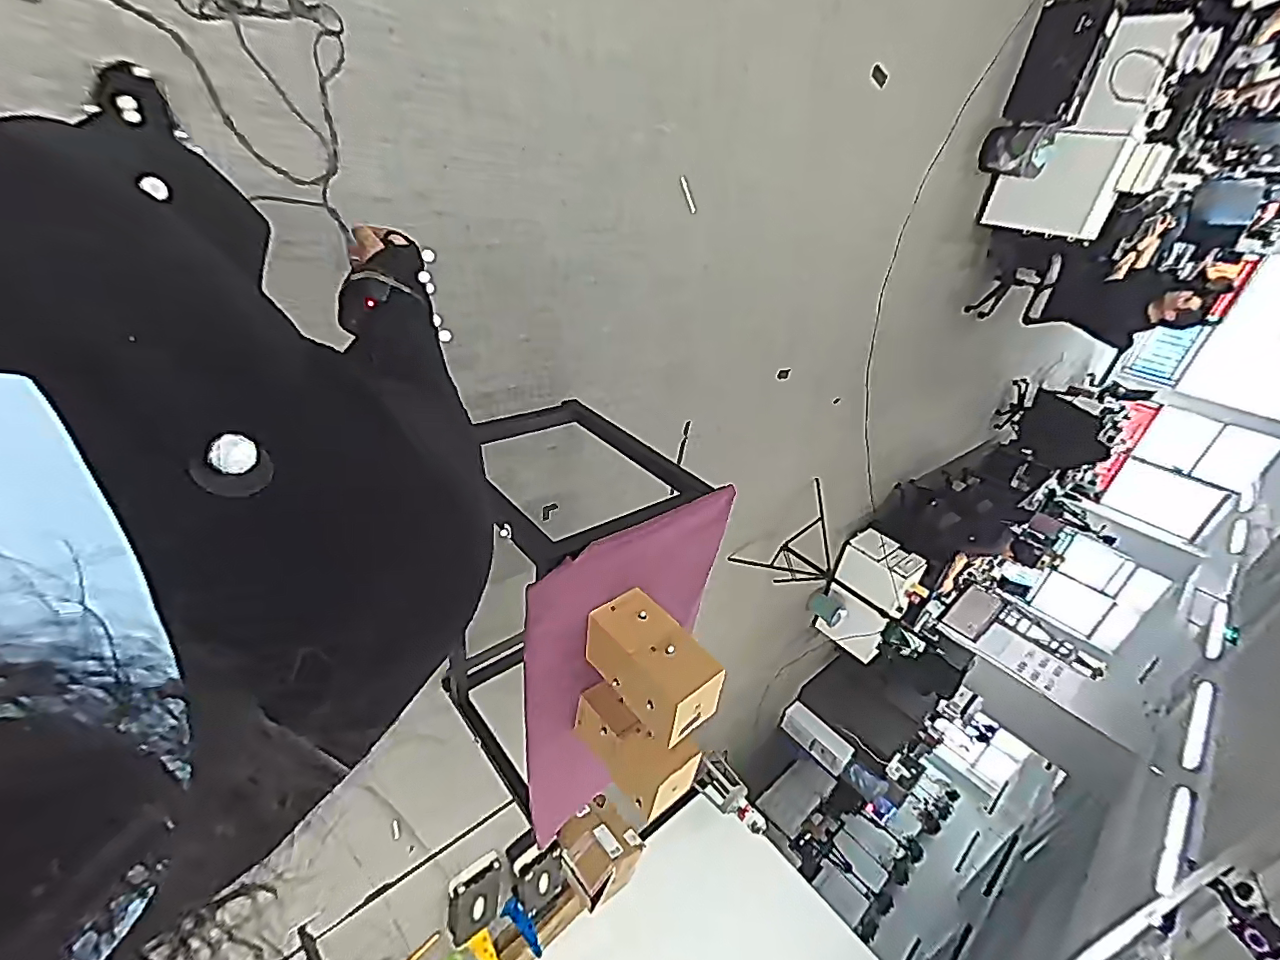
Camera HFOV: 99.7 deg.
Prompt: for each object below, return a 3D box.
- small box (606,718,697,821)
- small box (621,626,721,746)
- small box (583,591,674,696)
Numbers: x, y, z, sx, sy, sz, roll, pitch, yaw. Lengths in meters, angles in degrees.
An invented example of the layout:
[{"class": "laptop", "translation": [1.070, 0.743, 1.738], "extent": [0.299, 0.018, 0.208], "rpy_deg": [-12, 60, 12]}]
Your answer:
[{"class": "small box", "translation": [0.025, 0.767, 1.470], "extent": [0.168, 0.176, 0.179], "rpy_deg": [-17, 129, -41]}, {"class": "small box", "translation": [0.069, 0.494, 1.315], "extent": [0.168, 0.176, 0.179], "rpy_deg": [-22, 132, -37]}, {"class": "small box", "translation": [-0.036, 0.416, 1.415], "extent": [0.168, 0.176, 0.179], "rpy_deg": [-21, 132, -36]}]
